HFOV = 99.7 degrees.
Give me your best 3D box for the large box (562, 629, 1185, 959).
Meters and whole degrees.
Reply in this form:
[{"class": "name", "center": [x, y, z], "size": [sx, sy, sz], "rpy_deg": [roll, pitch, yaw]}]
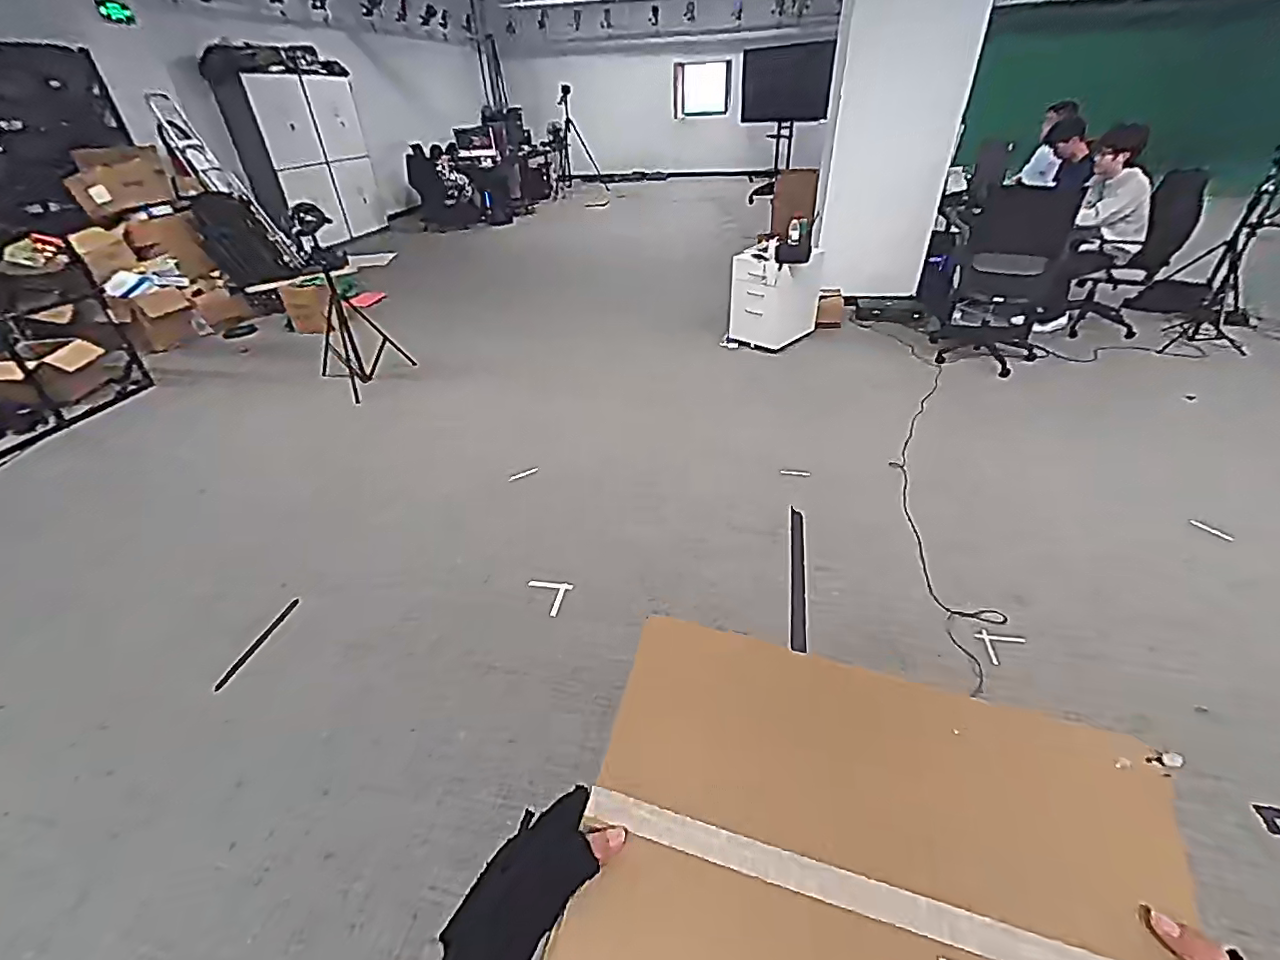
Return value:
[{"class": "large box", "center": [0.169, 0.383, 0.506], "size": [0.408, 0.320, 0.320], "rpy_deg": [11, 55, 13]}]
